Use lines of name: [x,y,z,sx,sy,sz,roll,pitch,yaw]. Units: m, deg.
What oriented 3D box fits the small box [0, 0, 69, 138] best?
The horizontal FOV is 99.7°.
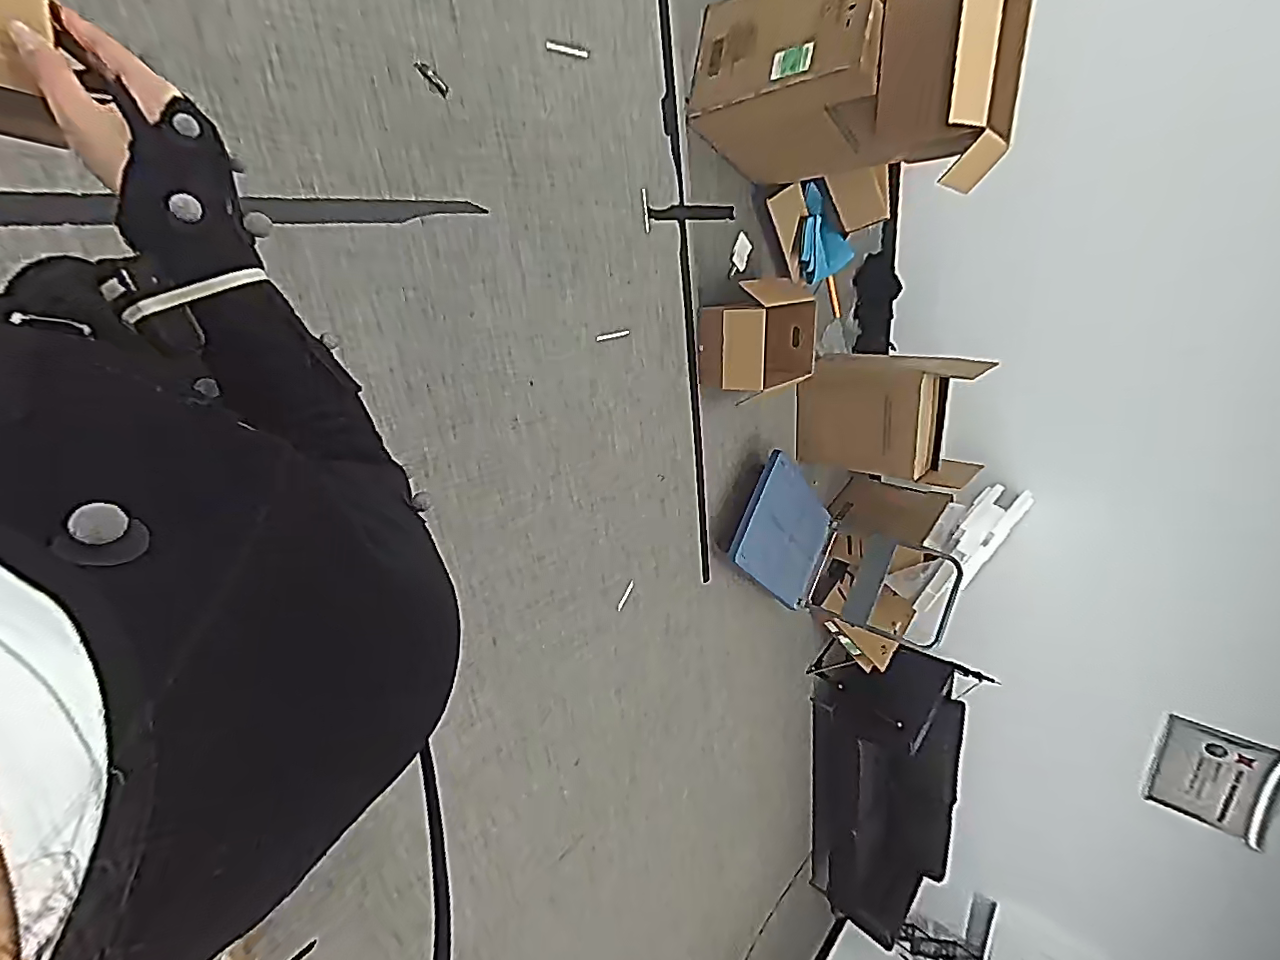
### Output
small box: [-0.455,-0.317,0.300,0.179,0.176,0.168,-8,110,-44]
